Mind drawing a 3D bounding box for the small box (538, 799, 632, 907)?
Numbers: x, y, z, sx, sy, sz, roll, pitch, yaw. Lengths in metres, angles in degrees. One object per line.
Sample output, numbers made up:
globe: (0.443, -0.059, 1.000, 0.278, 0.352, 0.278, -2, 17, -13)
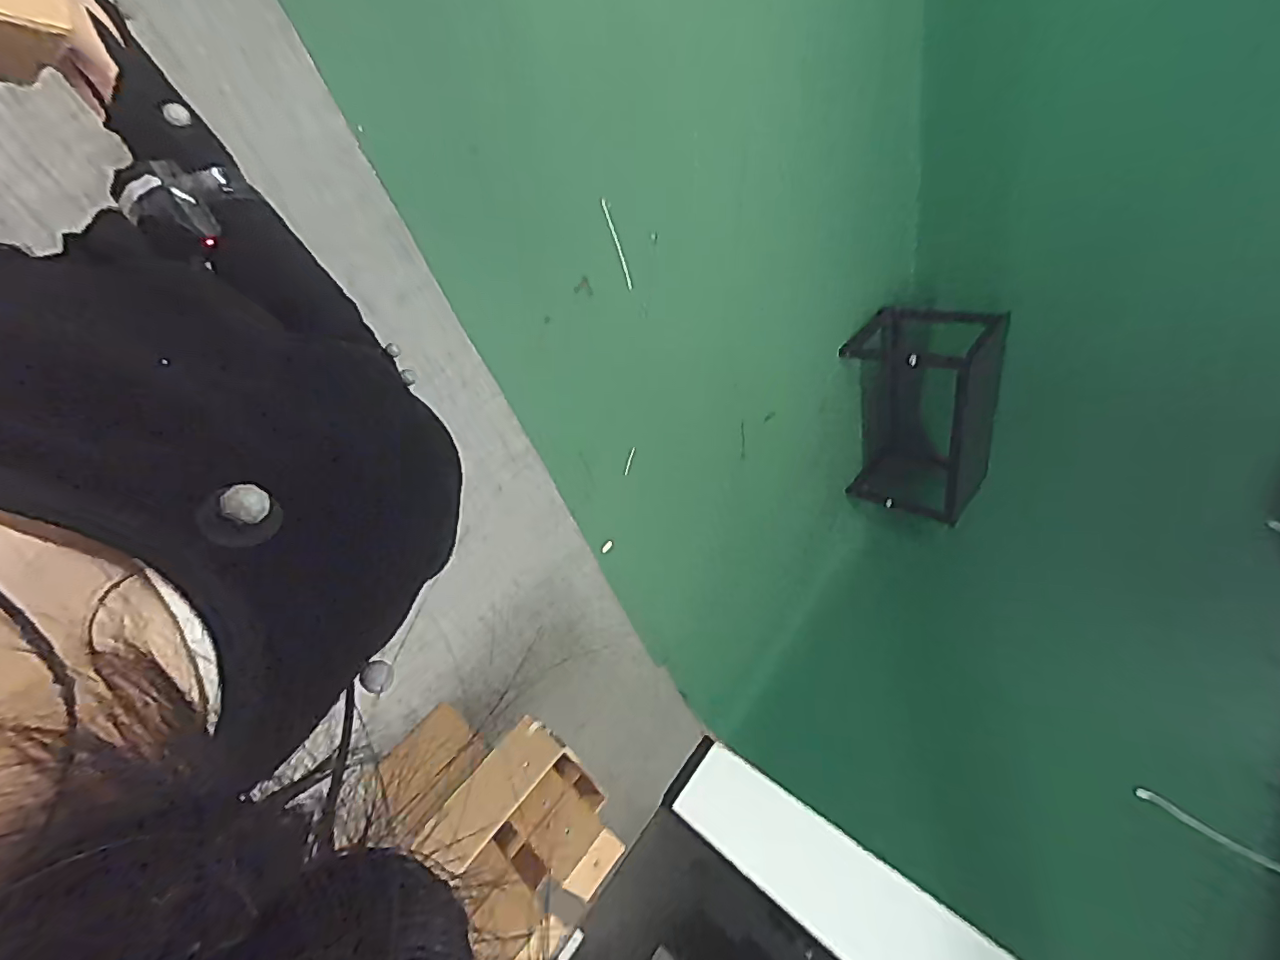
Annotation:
small box: (-0.158, 1.043, 1.526, 0.168, 0.176, 0.179, -44, 132, -25)

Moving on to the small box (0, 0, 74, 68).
small box: (-0.382, -0.301, 0.216, 0.168, 0.176, 0.179, -23, 124, -47)
